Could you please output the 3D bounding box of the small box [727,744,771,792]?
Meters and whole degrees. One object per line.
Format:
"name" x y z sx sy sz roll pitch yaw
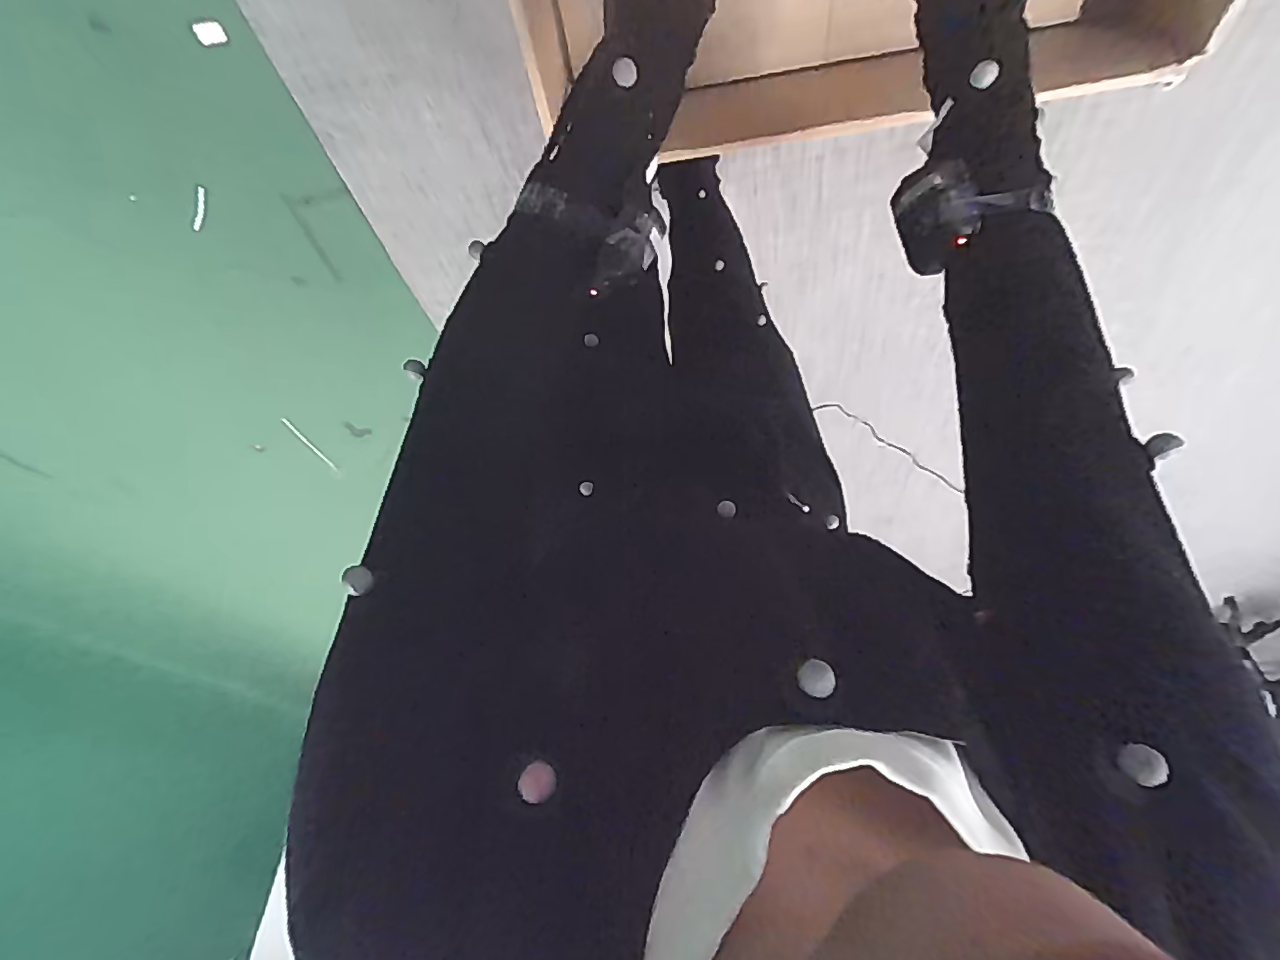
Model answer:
"small box" 0.478 1.265 2.375 0.168 0.176 0.179 -7 144 11

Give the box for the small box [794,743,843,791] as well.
"small box" 0.764 1.232 2.321 0.179 0.176 0.168 -8 144 13
